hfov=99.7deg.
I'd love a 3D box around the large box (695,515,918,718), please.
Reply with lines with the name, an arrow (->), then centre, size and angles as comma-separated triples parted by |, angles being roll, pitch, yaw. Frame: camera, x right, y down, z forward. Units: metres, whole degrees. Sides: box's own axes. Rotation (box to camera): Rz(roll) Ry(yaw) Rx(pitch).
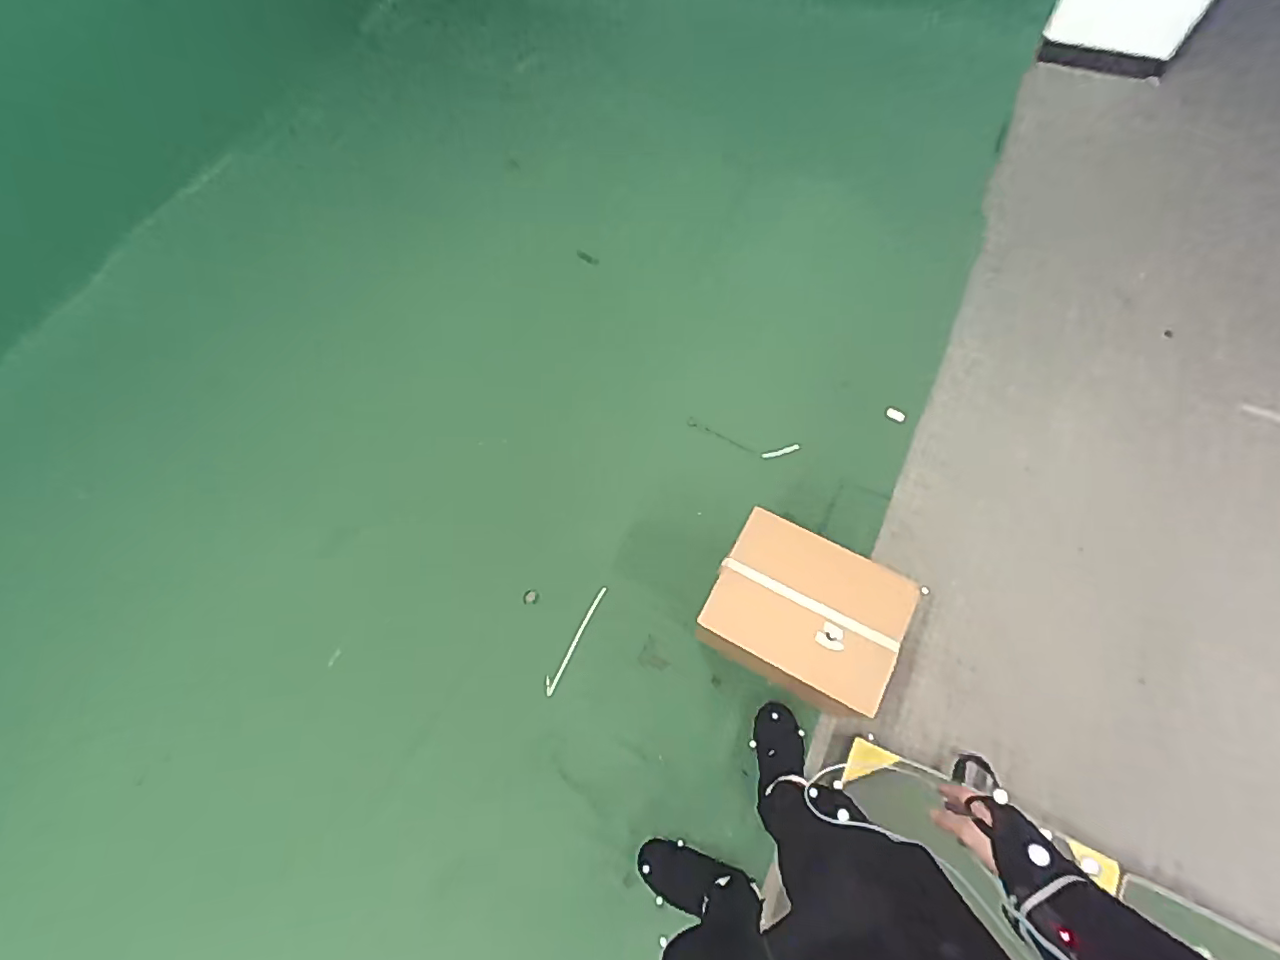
large box -> 0.382, 0.343, 1.334 | 0.408, 0.320, 0.320 | 26, 72, 14
